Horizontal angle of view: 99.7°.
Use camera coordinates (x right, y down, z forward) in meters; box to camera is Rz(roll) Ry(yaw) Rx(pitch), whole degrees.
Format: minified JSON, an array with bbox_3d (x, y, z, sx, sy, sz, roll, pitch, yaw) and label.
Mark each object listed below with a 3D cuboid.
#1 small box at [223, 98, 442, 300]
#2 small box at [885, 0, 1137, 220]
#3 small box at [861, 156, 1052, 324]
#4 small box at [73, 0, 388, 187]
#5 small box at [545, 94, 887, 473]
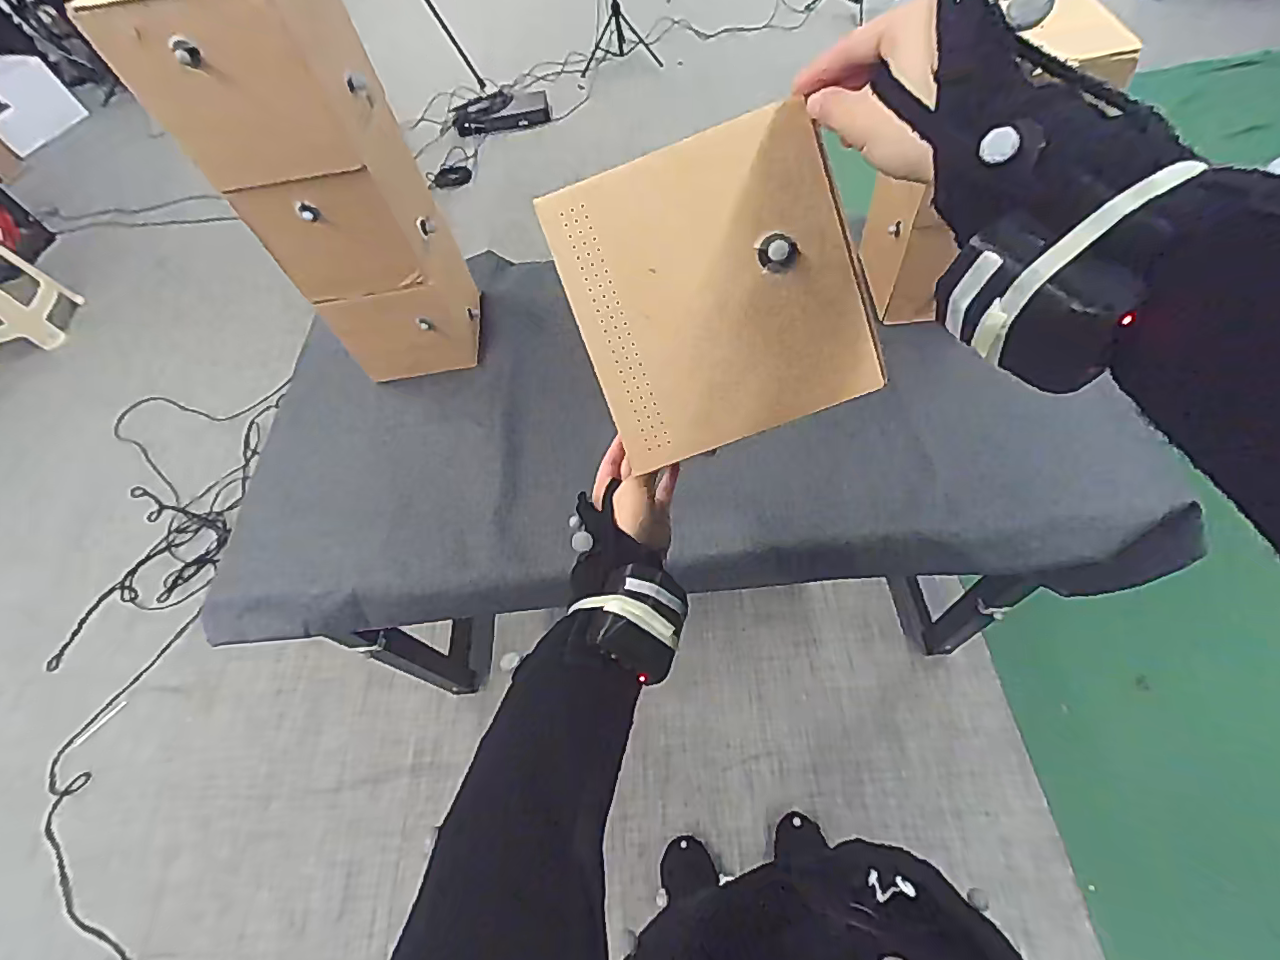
[{"bbox_3d":[-0.386,-0.362,0.715,0.179,0.176,0.168,-9,60,1],"label":"small box"},{"bbox_3d":[0.408,-0.429,0.636,0.168,0.176,0.179,-4,61,6],"label":"small box"},{"bbox_3d":[0.433,-0.352,0.778,0.168,0.176,0.179,-4,60,6],"label":"small box"},{"bbox_3d":[-0.402,-0.438,0.570,0.179,0.176,0.168,-7,60,3],"label":"small box"},{"bbox_3d":[0.045,-0.123,0.397,0.176,0.168,0.179,-19,99,5],"label":"small box"}]
